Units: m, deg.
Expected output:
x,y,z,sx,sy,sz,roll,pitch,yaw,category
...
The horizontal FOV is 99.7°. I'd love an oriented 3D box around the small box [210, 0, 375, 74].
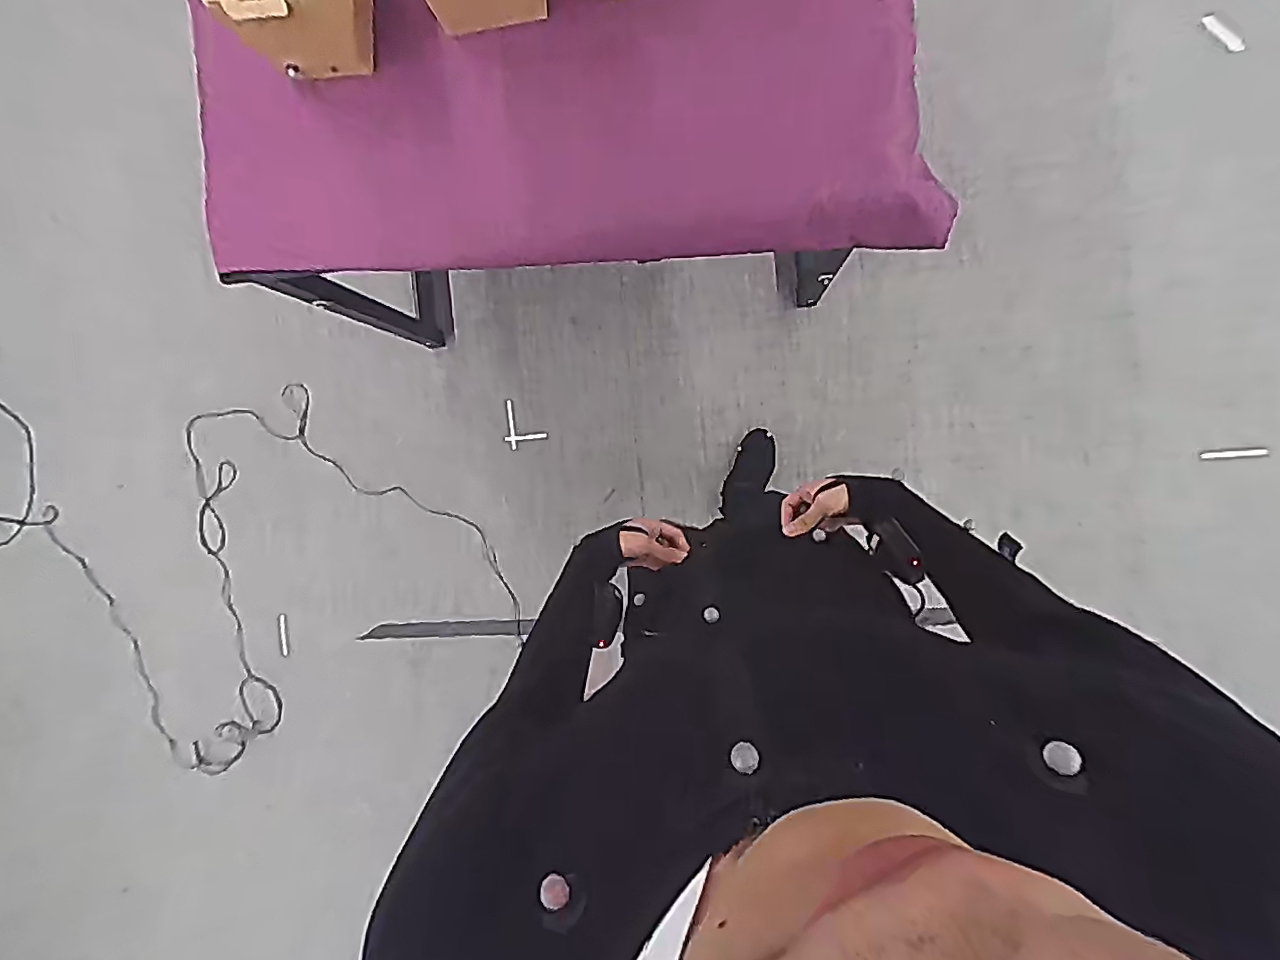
x,y,z,sx,sy,sz,roll,pitch,yaw,category
-0.554,-0.798,0.877,0.168,0.176,0.179,1,91,6,small box
